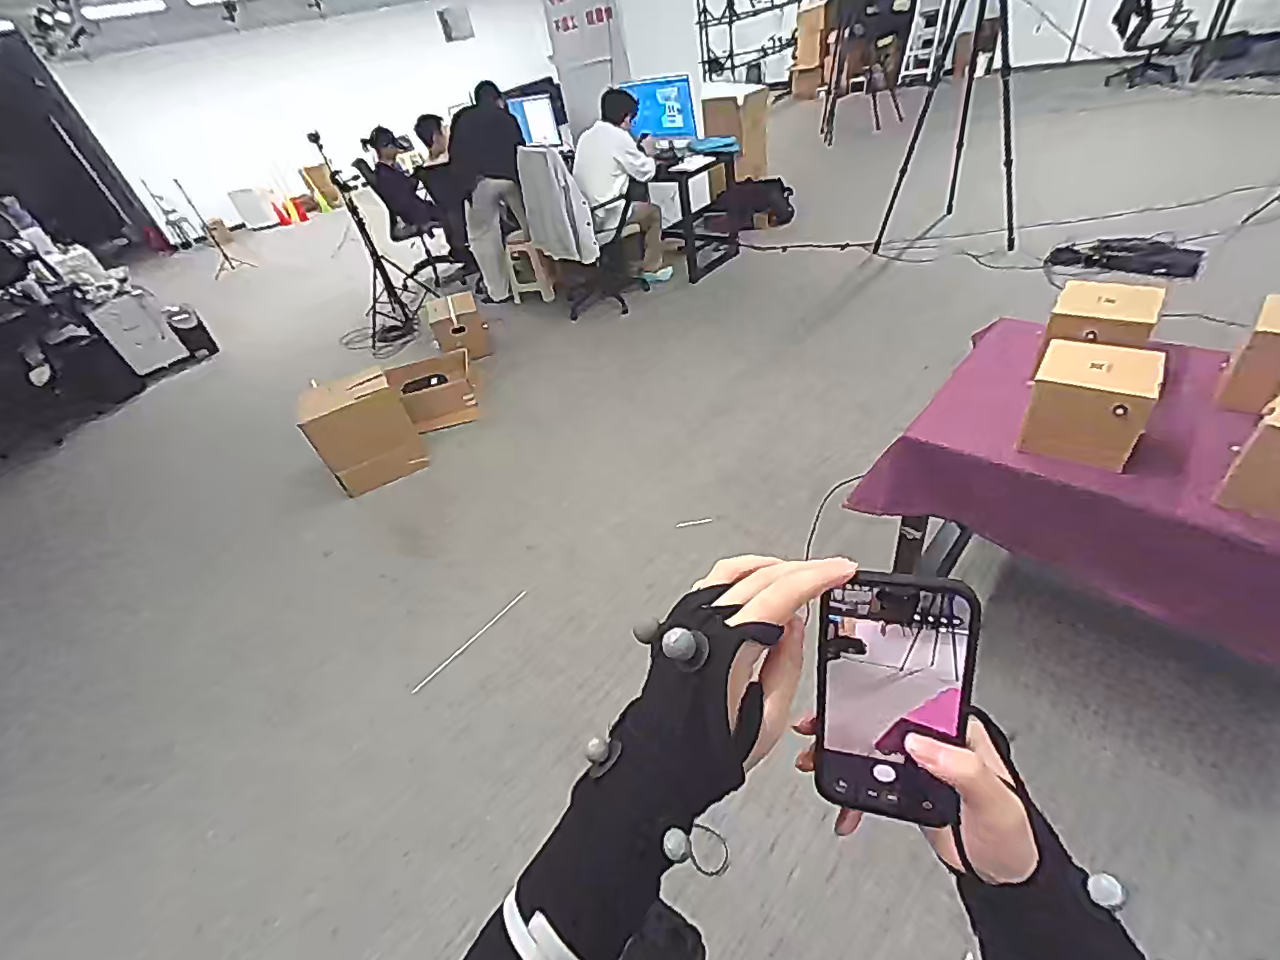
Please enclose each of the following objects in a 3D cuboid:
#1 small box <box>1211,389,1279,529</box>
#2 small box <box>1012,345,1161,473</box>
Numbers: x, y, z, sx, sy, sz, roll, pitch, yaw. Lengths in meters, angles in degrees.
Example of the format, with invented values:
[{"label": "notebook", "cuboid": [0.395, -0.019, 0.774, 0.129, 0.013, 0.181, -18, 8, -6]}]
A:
[{"label": "small box", "cuboid": [1.067, -0.021, 0.849, 0.168, 0.176, 0.179, -35, 45, -24]}, {"label": "small box", "cuboid": [0.854, -0.138, 1.047, 0.179, 0.176, 0.168, 21, 50, 33]}]
